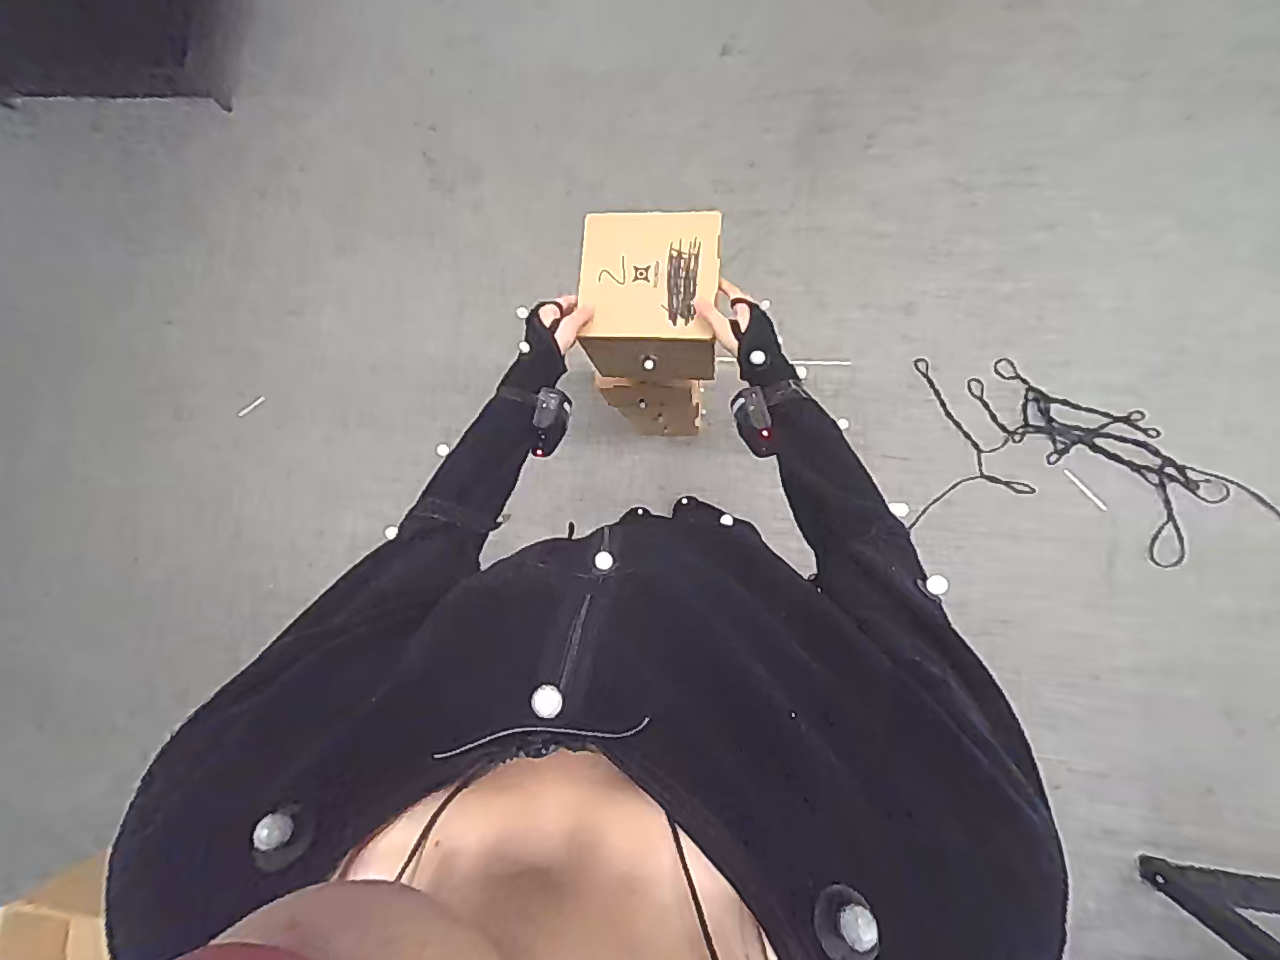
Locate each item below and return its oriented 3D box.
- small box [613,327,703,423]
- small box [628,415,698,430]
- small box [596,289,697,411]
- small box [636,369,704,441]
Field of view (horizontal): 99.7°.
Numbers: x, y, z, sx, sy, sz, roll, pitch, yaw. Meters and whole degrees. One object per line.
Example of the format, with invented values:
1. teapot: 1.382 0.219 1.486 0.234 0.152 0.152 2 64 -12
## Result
1. small box: 0.041 -0.217 1.143 0.179 0.176 0.168 1 85 6
2. small box: 0.055 -0.217 1.306 0.179 0.176 0.168 3 86 6
3. small box: 0.018 -0.229 0.981 0.168 0.176 0.179 1 86 7
4. small box: 0.082 -0.201 1.468 0.179 0.176 0.168 3 85 6
